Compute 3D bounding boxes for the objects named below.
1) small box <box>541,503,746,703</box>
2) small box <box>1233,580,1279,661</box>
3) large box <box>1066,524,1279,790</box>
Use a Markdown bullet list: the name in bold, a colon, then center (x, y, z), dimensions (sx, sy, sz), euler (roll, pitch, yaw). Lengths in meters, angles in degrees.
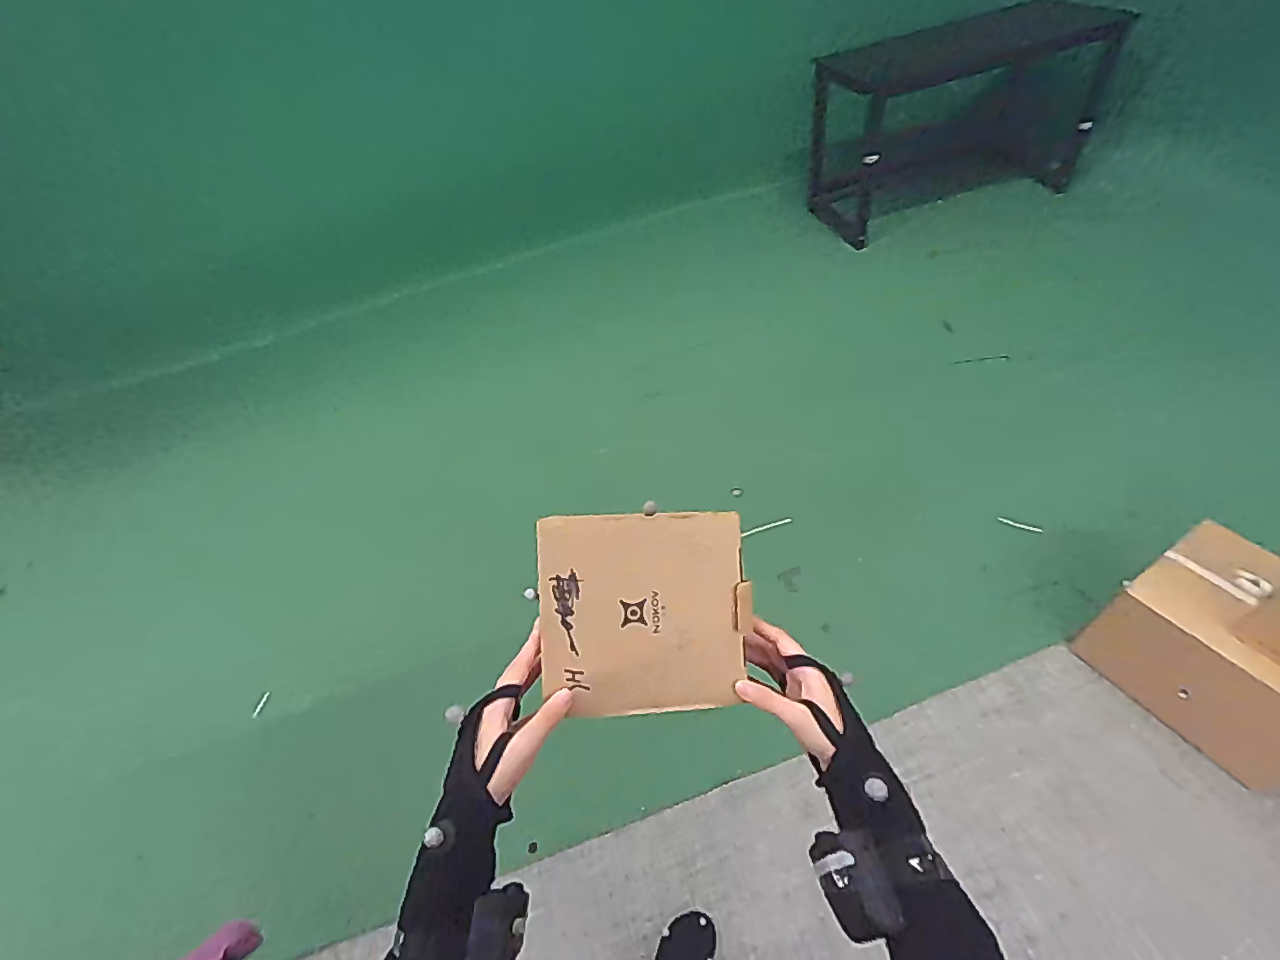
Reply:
- **small box**: center (-0.005, 0.106, 0.535), dimensions (0.179, 0.176, 0.168), euler (-1, 86, -6)
- **small box**: center (1.272, 0.255, 0.994), dimensions (0.179, 0.176, 0.168), euler (-30, 50, -13)
- **large box**: center (1.301, 0.384, 1.205), dimensions (0.320, 0.320, 0.408), euler (-29, 48, -15)
